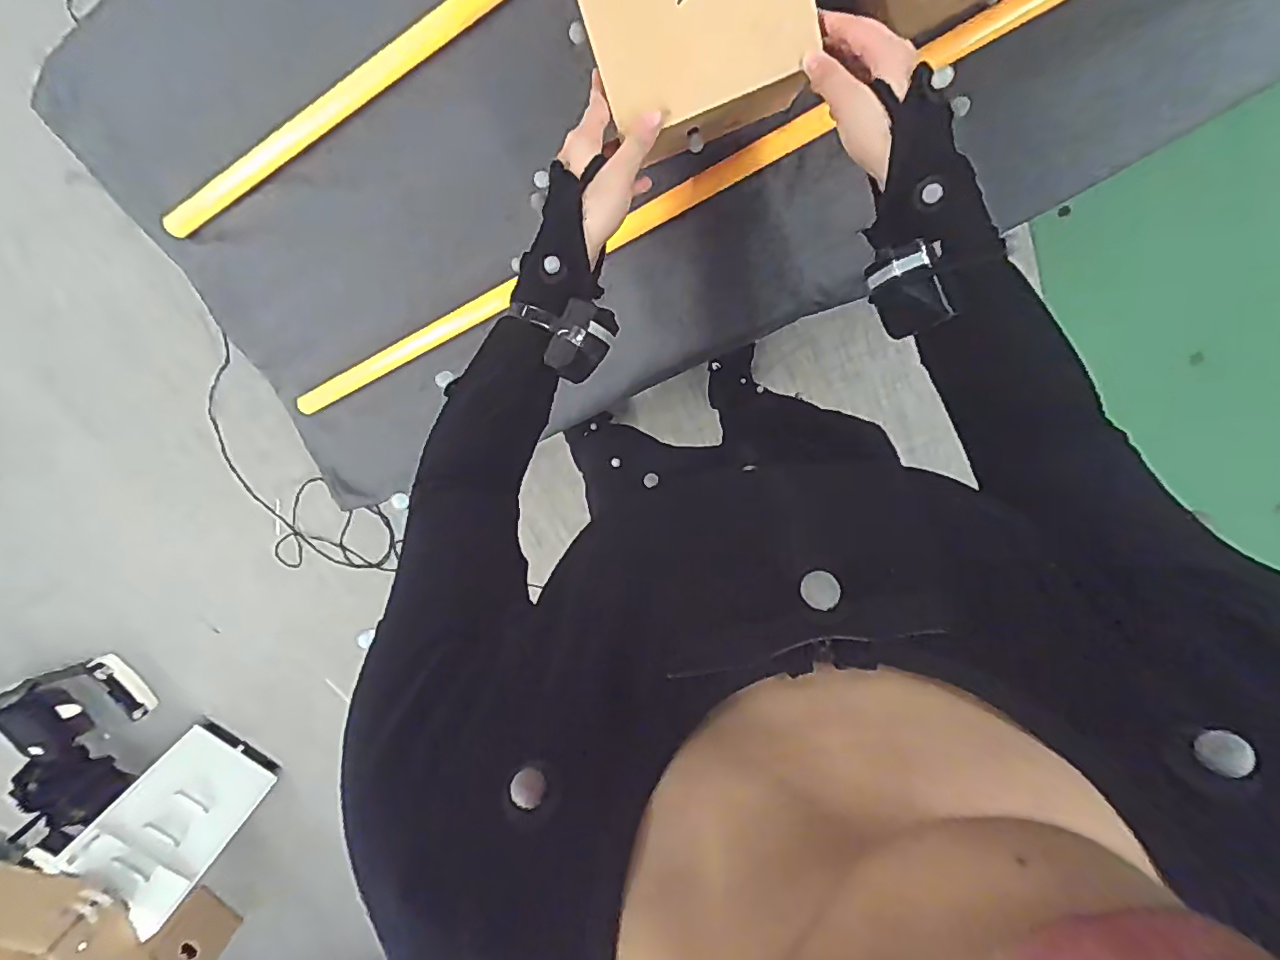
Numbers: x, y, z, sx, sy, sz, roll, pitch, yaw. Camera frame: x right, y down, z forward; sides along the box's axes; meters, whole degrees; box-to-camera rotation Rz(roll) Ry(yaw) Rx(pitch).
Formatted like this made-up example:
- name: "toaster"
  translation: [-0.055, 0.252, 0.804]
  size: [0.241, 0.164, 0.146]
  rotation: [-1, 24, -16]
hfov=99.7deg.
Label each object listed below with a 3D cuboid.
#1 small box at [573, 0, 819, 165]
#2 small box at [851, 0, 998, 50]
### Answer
- name: "small box"
  translation: [0.043, -0.394, 0.465]
  size: [0.168, 0.176, 0.179]
  rotation: [-16, 110, 14]
- name: "small box"
  translation: [0.250, -0.465, 0.404]
  size: [0.168, 0.176, 0.179]
  rotation: [-19, 111, 17]
